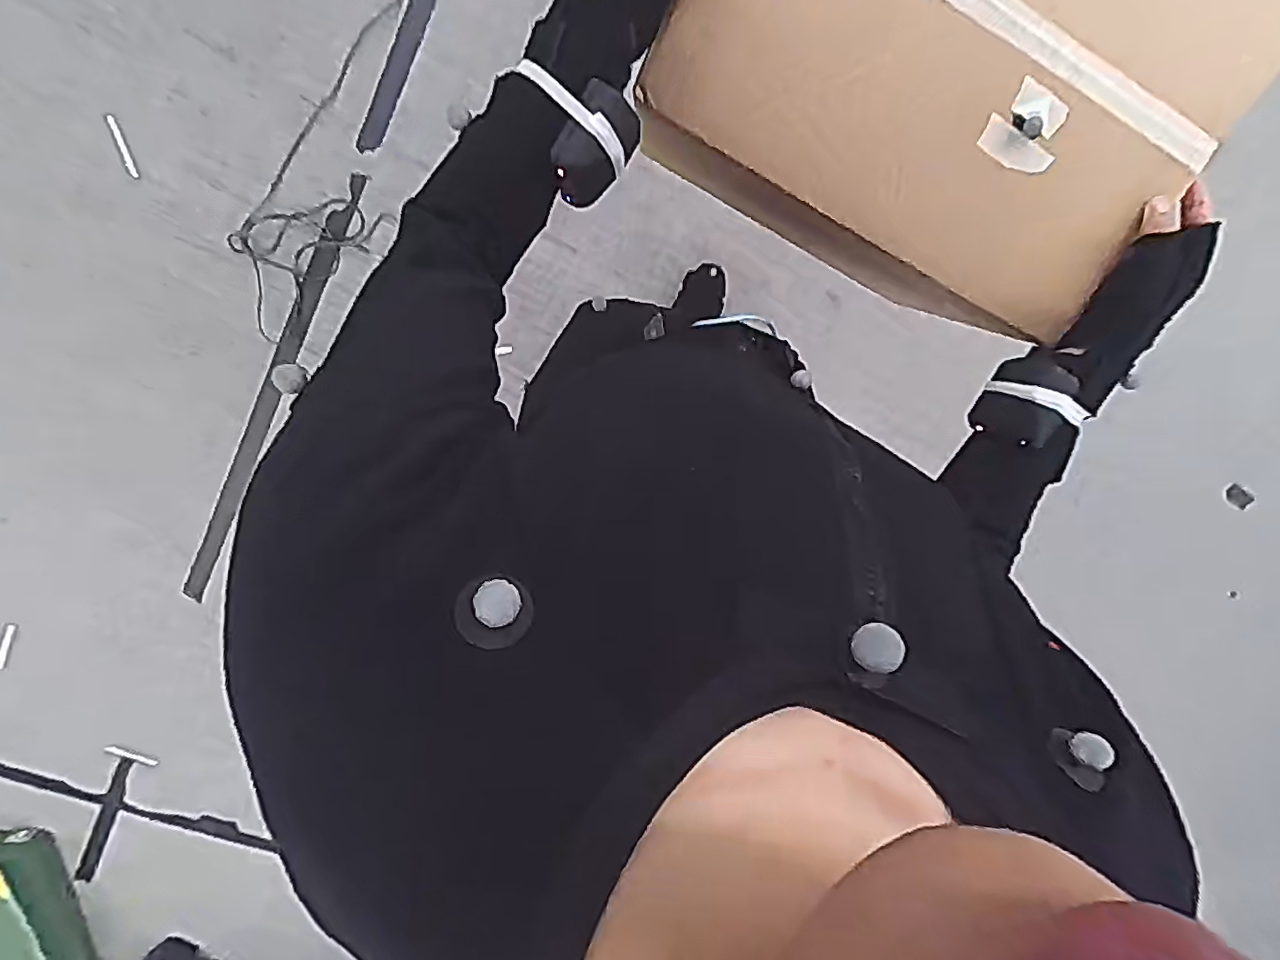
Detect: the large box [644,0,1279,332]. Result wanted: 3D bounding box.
[{"bbox_3d":[0.245,-0.393,0.519,0.408,0.320,0.320,25,114,-11],"label":"large box"}]
